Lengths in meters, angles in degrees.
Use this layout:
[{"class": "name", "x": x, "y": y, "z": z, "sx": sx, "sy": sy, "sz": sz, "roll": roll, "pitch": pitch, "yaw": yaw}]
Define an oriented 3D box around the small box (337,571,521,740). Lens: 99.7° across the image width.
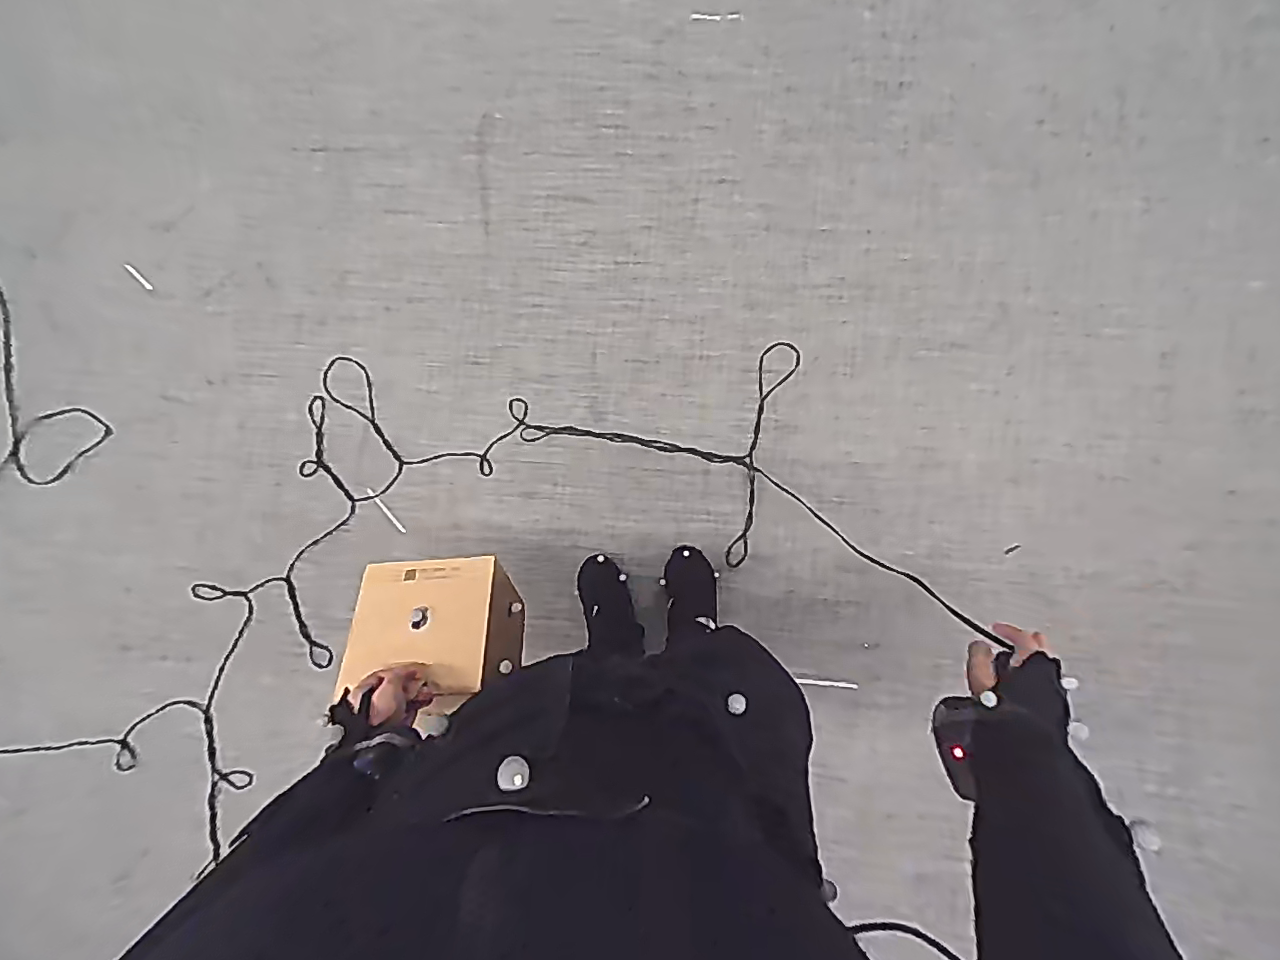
[{"class": "small box", "x": -0.256, "y": 0.226, "z": 0.704, "sx": 0.168, "sy": 0.179, "sz": 0.176, "roll": -5, "pitch": 56, "yaw": 0}]
